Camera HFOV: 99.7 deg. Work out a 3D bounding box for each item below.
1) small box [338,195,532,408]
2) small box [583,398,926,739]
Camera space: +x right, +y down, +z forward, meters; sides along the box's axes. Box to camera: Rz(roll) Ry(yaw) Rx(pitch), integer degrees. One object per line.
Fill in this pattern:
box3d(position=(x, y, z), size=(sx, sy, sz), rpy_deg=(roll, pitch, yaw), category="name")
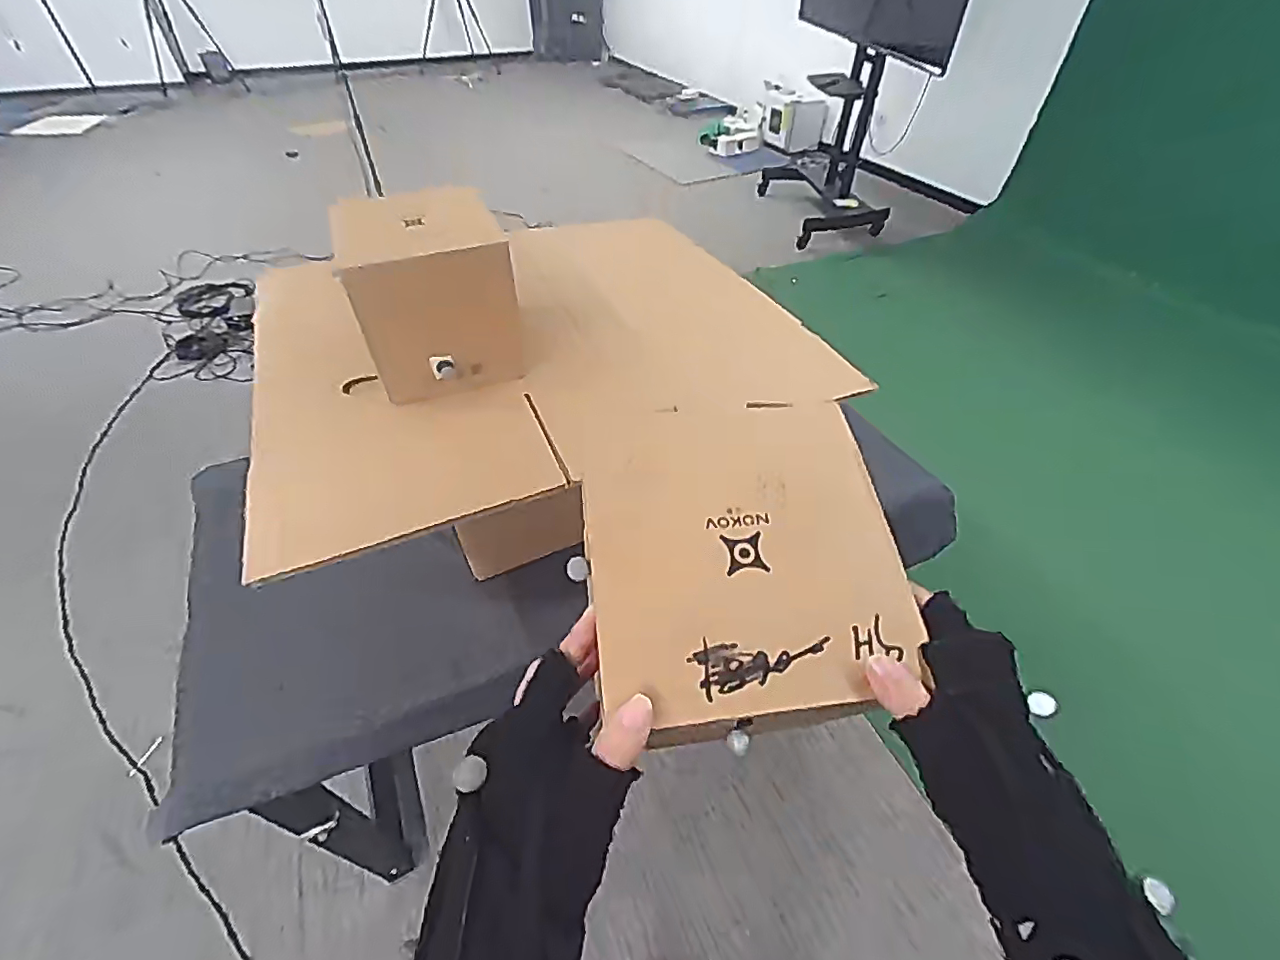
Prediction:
box3d(position=(-0.239, -0.214, 0.647), size=(0.168, 0.176, 0.179), rpy_deg=(-19, 51, -16), category="small box")
box3d(position=(0.047, 0.066, 0.369), size=(0.168, 0.176, 0.179), rpy_deg=(-4, 61, -6), category="small box")
